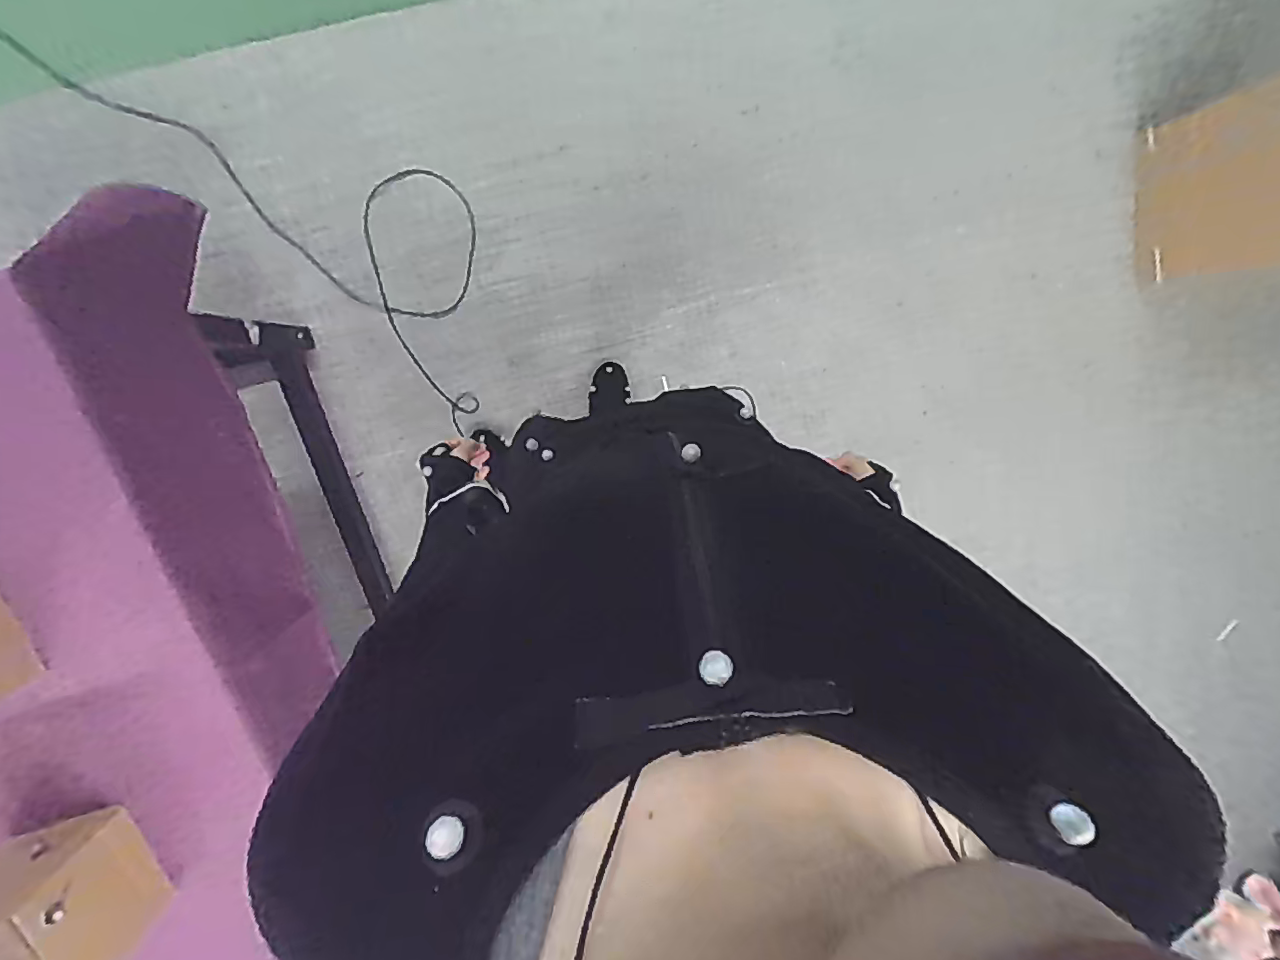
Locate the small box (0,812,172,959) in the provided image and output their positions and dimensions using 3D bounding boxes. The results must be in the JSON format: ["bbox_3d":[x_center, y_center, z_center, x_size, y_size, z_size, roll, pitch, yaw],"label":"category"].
[{"bbox_3d":[-0.782,0.588,0.710,0.168,0.176,0.179,-17,102,-2],"label":"small box"}]
